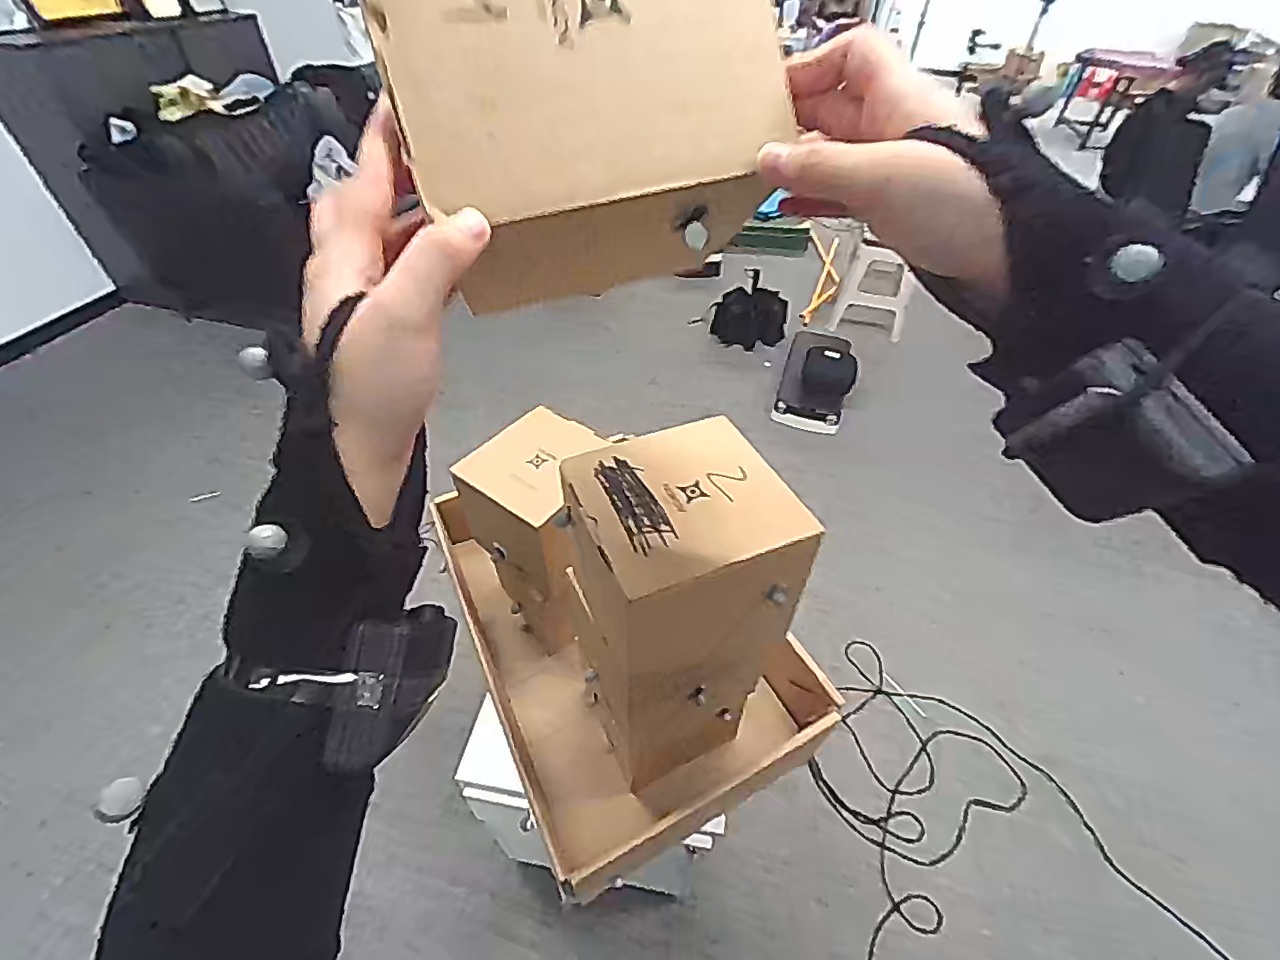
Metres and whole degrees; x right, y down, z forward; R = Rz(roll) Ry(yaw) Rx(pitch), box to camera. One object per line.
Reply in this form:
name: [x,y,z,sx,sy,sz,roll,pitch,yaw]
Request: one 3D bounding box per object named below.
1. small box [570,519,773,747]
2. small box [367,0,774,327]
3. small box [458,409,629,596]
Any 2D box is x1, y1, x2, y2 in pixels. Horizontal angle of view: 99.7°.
small box: [0.030,0.181,0.648,0.179,0.176,0.168,-19,47,-18]
small box: [-0.046,-0.209,0.336,0.179,0.168,0.176,-16,5,-9]
small box: [-0.132,0.032,0.795,0.168,0.176,0.179,28,53,25]
